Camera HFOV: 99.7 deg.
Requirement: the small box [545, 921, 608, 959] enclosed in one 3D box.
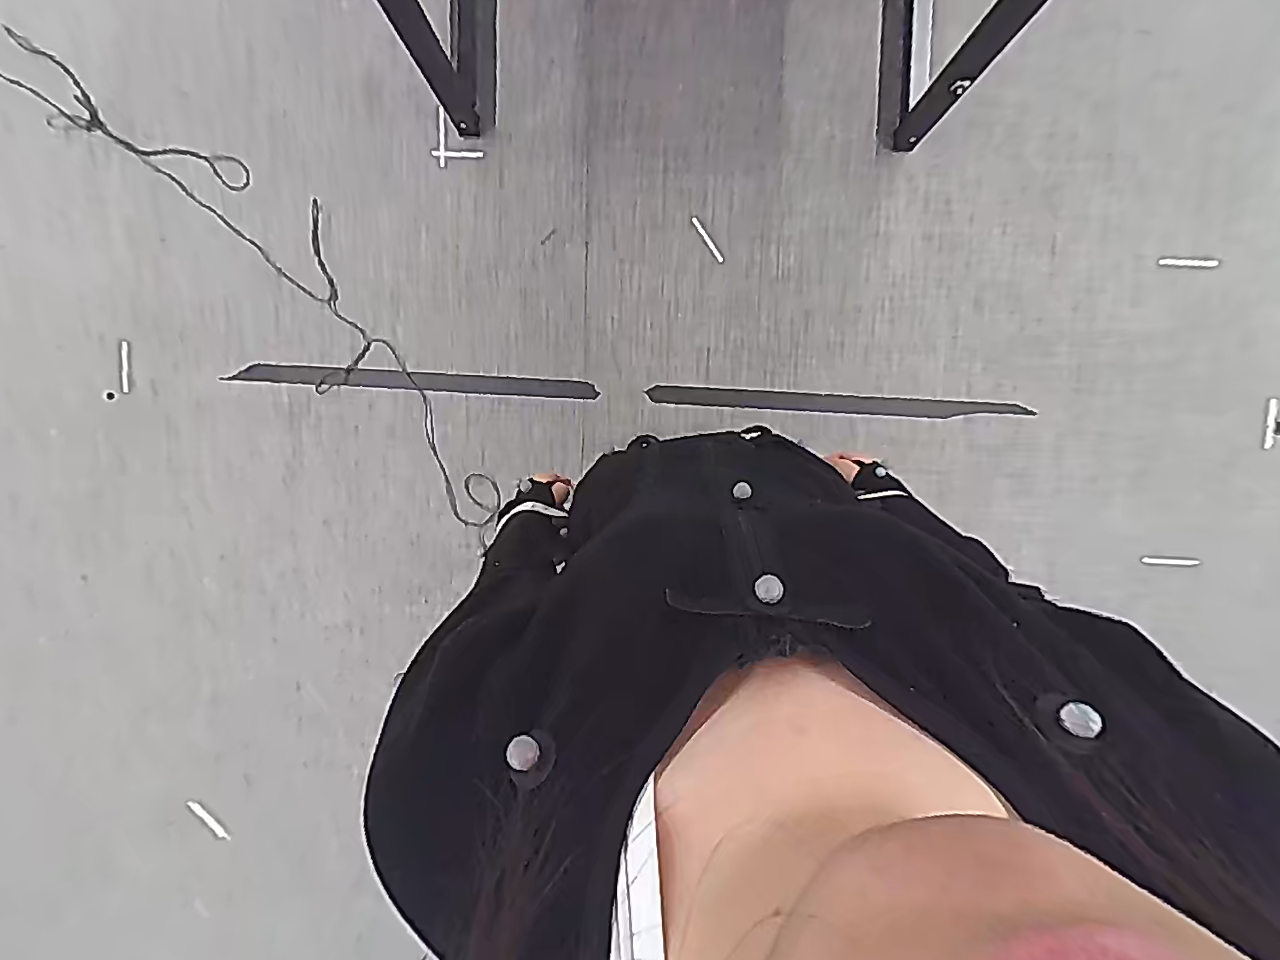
[{"bbox_3d":[-0.181,1.399,1.533,0.168,0.176,0.179,-2,96,2],"label":"small box"}]
